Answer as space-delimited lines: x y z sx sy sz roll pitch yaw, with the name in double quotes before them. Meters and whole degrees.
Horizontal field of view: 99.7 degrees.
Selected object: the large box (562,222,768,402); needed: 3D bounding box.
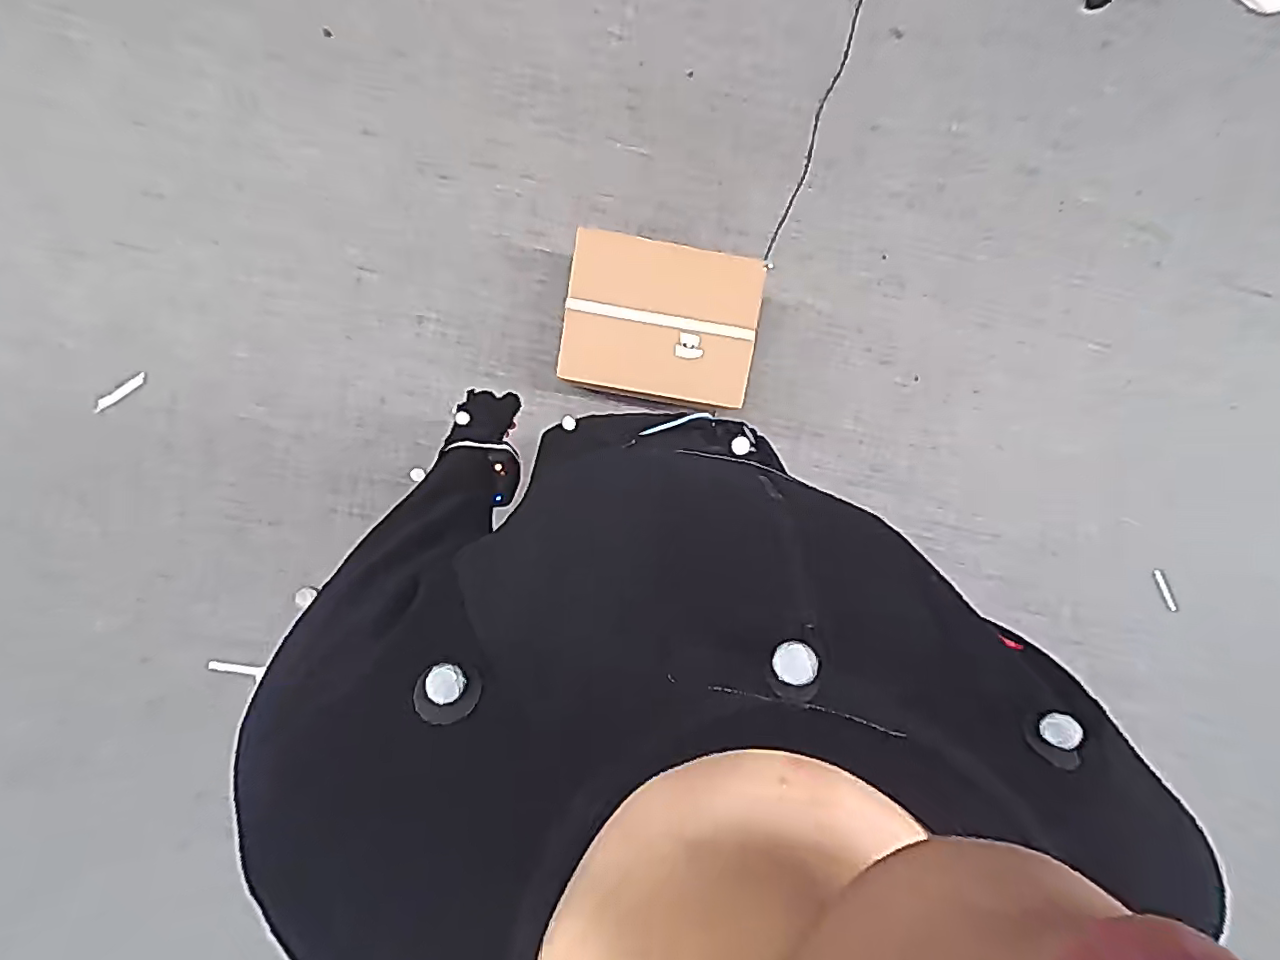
"large box" 0.043 -0.372 1.289 0.408 0.320 0.320 10 98 -4
